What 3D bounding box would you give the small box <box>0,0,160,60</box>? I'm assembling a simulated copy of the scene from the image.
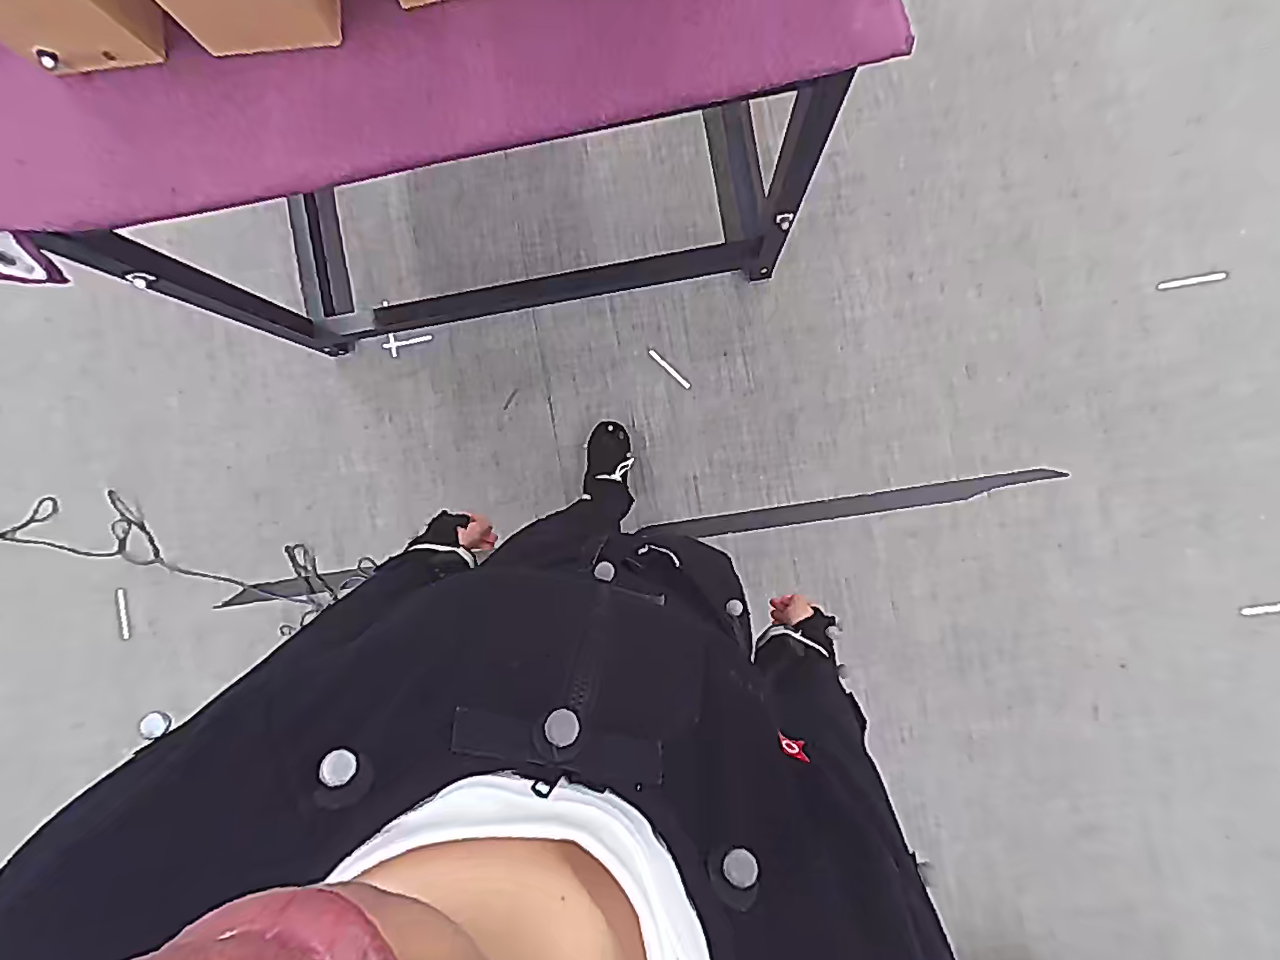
[{"bbox_3d":[-0.711,-0.632,0.631,0.168,0.176,0.179,-4,89,3],"label":"small box"}]
